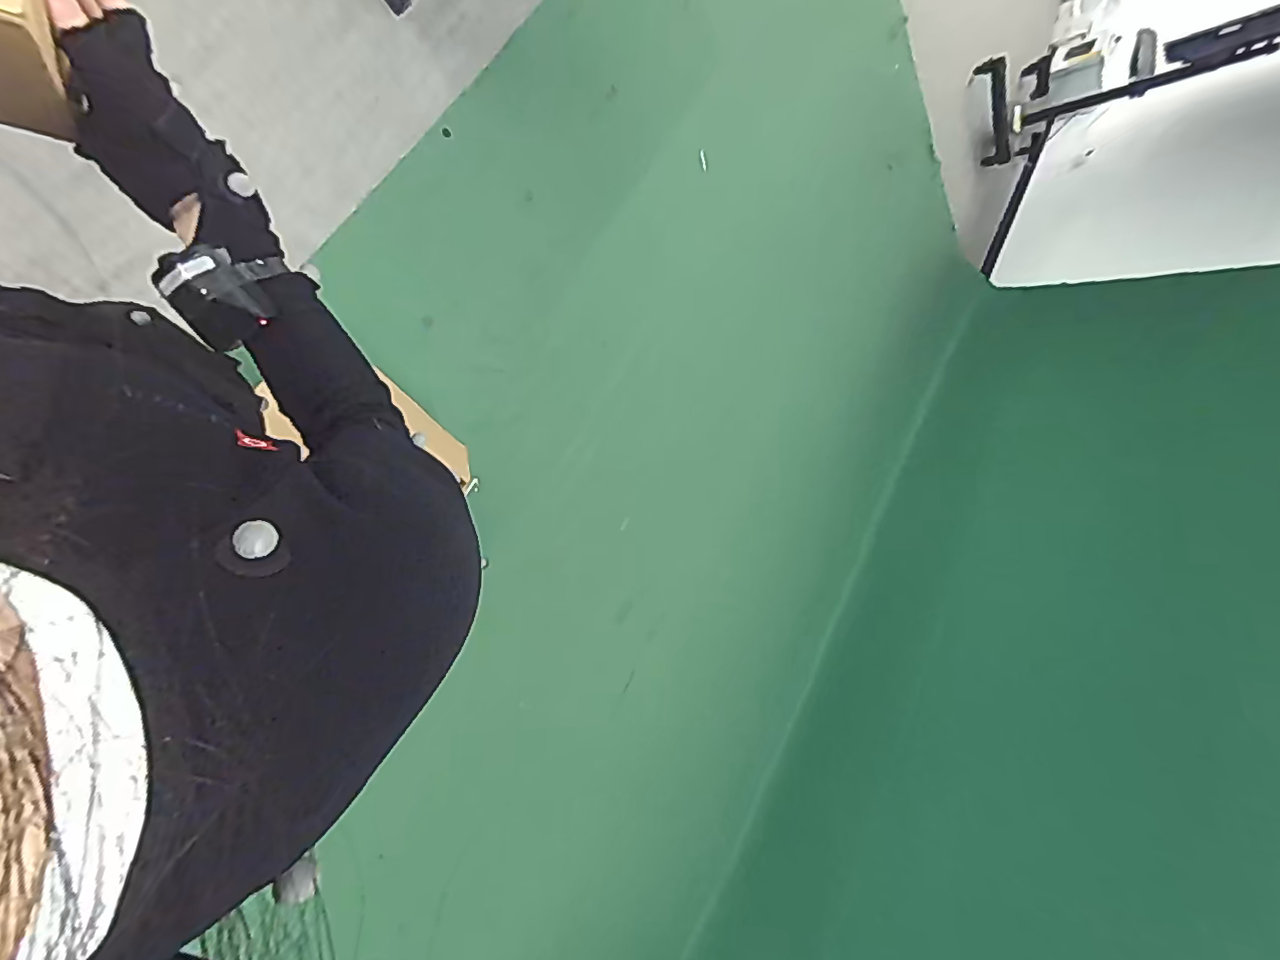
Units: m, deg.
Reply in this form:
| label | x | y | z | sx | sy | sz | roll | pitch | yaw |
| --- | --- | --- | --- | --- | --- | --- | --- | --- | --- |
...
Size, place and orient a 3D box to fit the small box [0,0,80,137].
| label | x | y | z | sx | sy | sz | roll | pitch | yaw |
| --- | --- | --- | --- | --- | --- | --- | --- | --- | --- |
| small box | -0.433 | -0.330 | 0.291 | 0.168 | 0.176 | 0.179 | -2 | 99 | -39 |
